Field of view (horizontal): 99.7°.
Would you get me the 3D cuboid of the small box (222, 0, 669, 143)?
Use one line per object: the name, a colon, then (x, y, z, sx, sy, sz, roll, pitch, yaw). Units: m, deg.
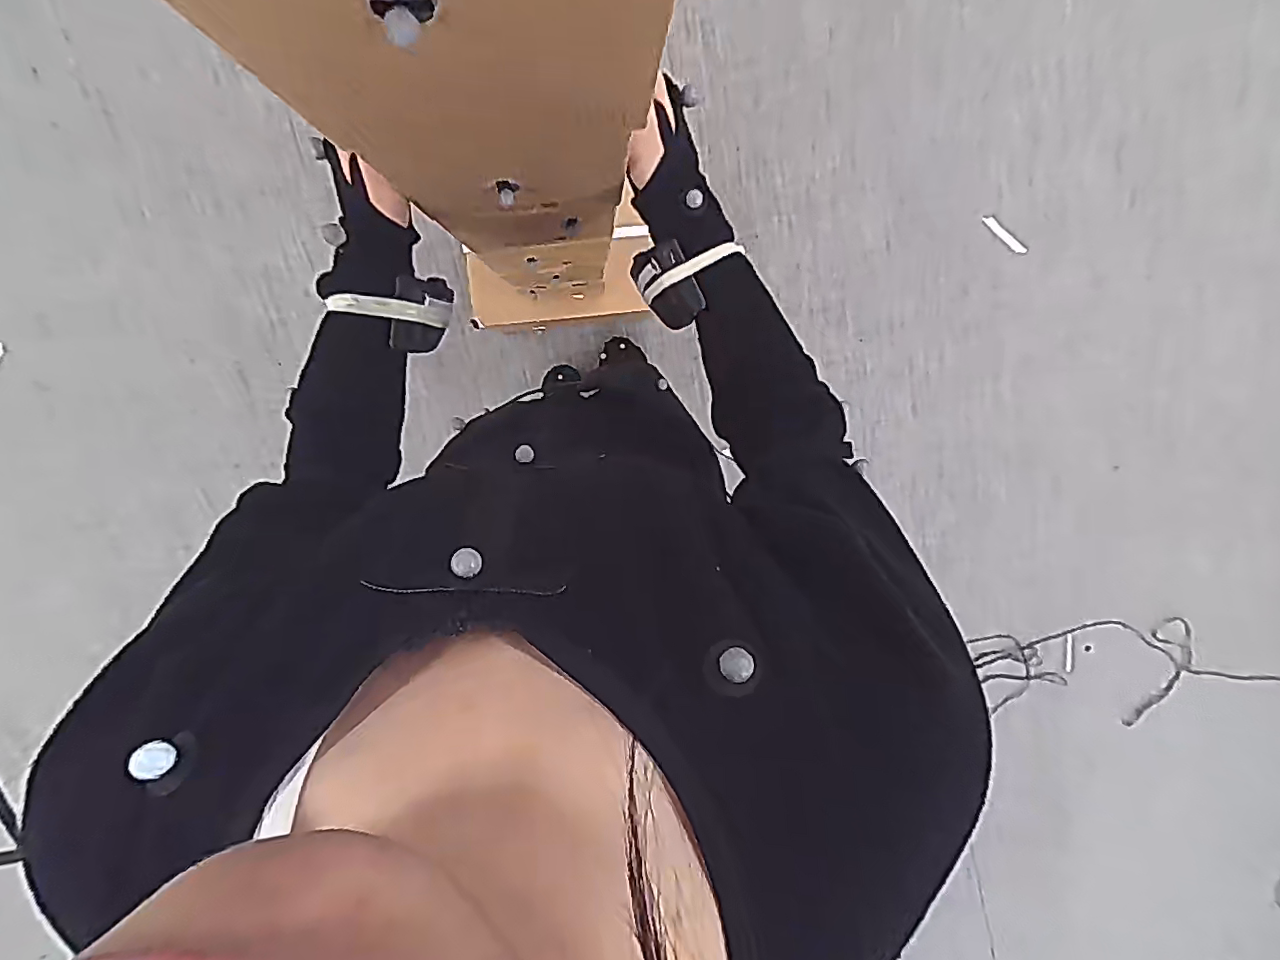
small box: (-0.078, -0.255, 0.213, 0.179, 0.176, 0.168, -7, 103, -4)

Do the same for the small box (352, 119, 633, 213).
small box: (-0.096, -0.296, 0.371, 0.168, 0.176, 0.179, -6, 102, -4)

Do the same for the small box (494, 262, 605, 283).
small box: (-0.143, -0.409, 0.846, 0.168, 0.176, 0.179, -6, 104, -4)

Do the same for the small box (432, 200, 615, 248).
small box: (-0.115, -0.338, 0.530, 0.168, 0.176, 0.179, -9, 102, -3)

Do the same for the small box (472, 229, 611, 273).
small box: (-0.127, -0.369, 0.689, 0.168, 0.176, 0.179, -8, 103, -3)
